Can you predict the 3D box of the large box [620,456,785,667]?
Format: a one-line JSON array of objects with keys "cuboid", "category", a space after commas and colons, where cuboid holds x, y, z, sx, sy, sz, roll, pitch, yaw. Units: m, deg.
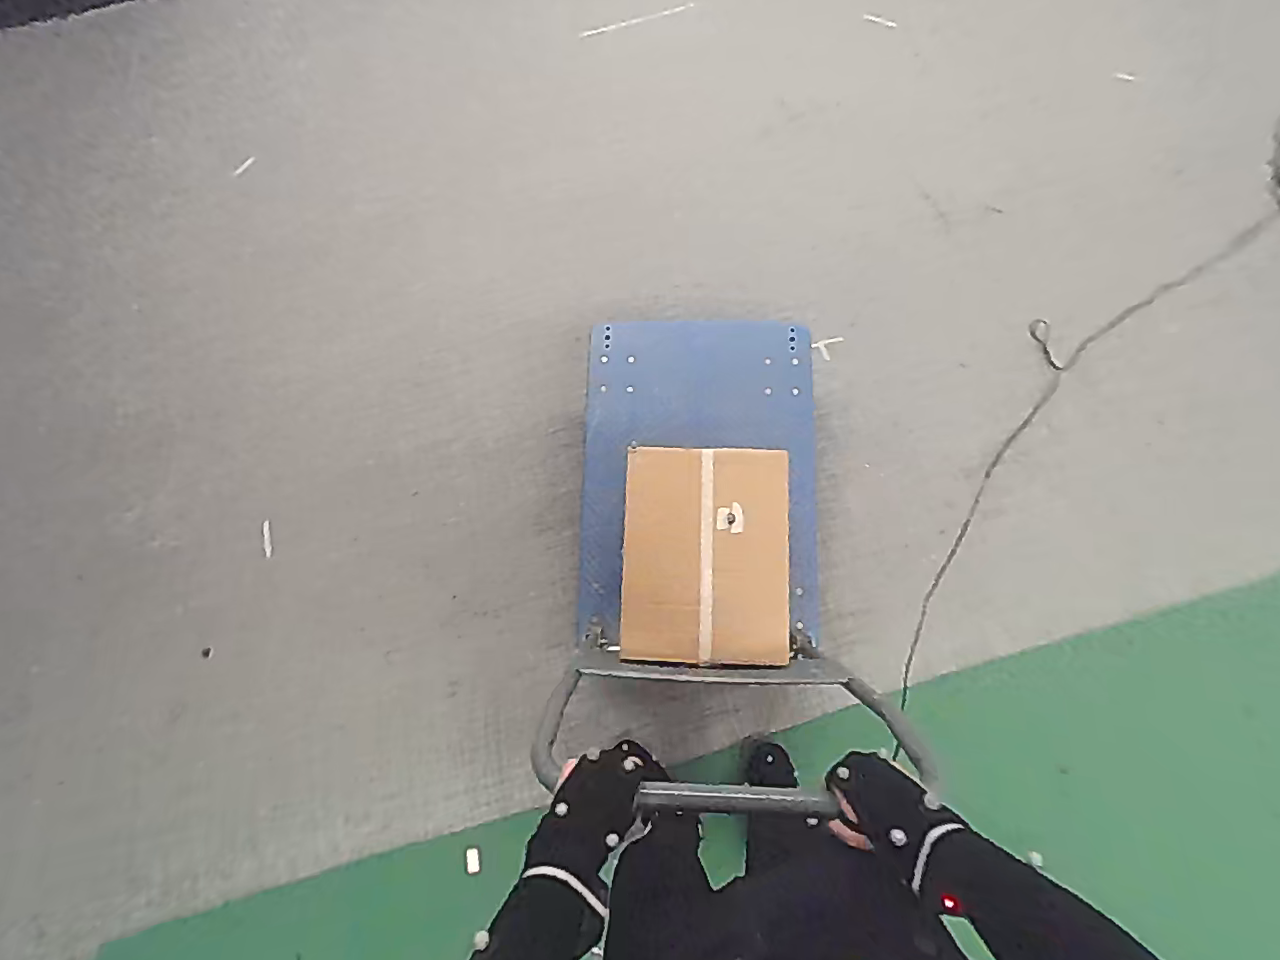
[{"cuboid": [0.131, 0.178, 1.192, 0.320, 0.320, 0.408, 2, 80, 3], "category": "large box"}]
